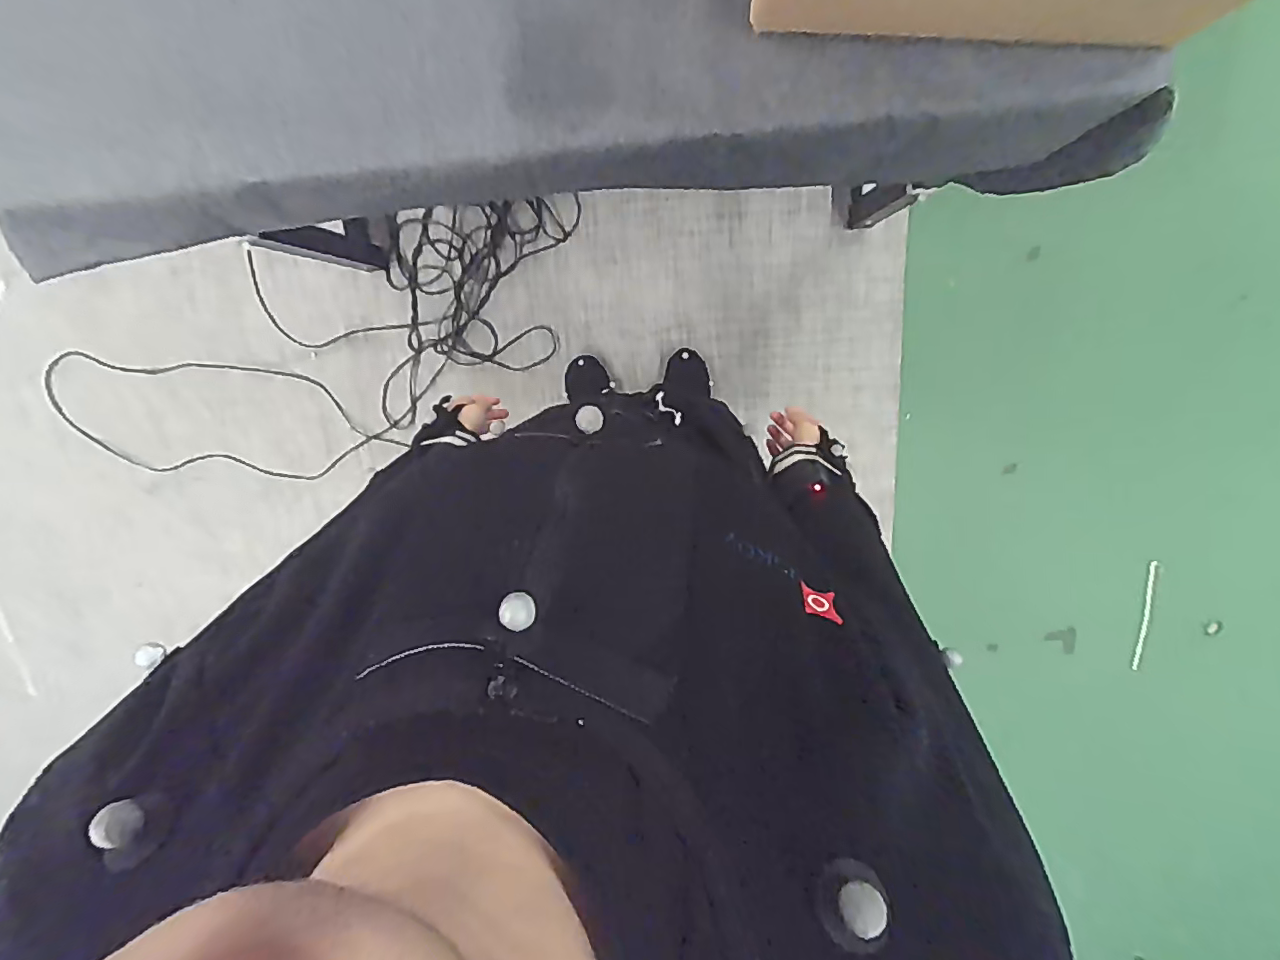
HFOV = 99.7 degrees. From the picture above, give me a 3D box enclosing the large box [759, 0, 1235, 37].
[{"bbox_3d":[0.308,-0.532,0.332,0.408,0.320,0.320,3,104,1],"label":"large box"}]
